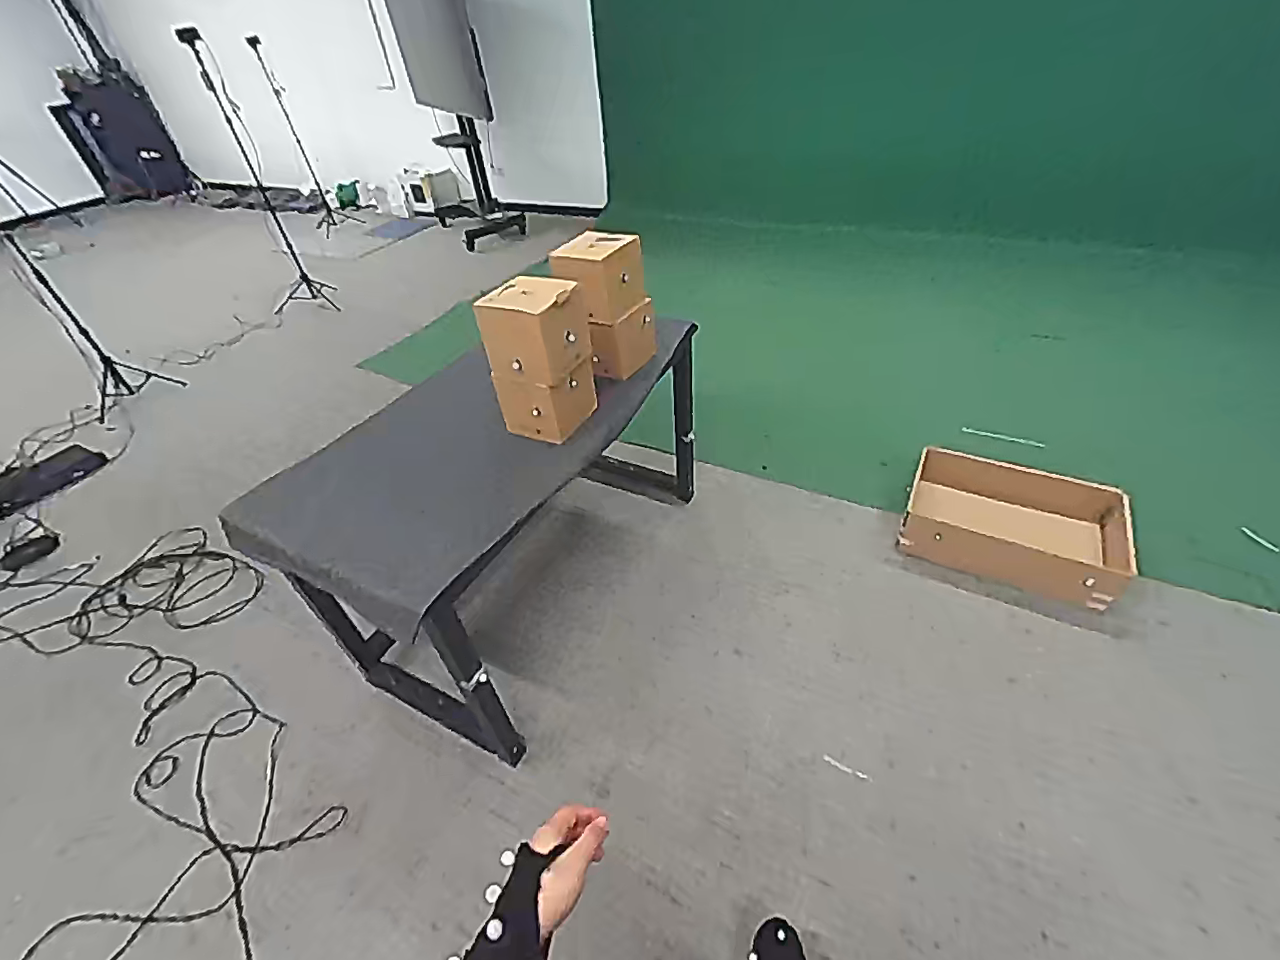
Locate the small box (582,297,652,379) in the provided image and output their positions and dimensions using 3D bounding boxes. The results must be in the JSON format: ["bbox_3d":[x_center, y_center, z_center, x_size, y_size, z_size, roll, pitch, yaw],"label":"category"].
[{"bbox_3d":[-0.079,-0.407,1.509,0.168,0.176,0.179,19,47,28],"label":"small box"}]

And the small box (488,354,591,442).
[{"bbox_3d":[-0.232,-0.215,1.311,0.168,0.176,0.179,16,44,23],"label":"small box"}]

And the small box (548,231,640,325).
[{"bbox_3d":[-0.110,-0.526,1.399,0.168,0.176,0.179,18,48,27],"label":"small box"}]

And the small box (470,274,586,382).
[{"bbox_3d":[-0.237,-0.335,1.198,0.179,0.176,0.168,16,46,23],"label":"small box"}]
